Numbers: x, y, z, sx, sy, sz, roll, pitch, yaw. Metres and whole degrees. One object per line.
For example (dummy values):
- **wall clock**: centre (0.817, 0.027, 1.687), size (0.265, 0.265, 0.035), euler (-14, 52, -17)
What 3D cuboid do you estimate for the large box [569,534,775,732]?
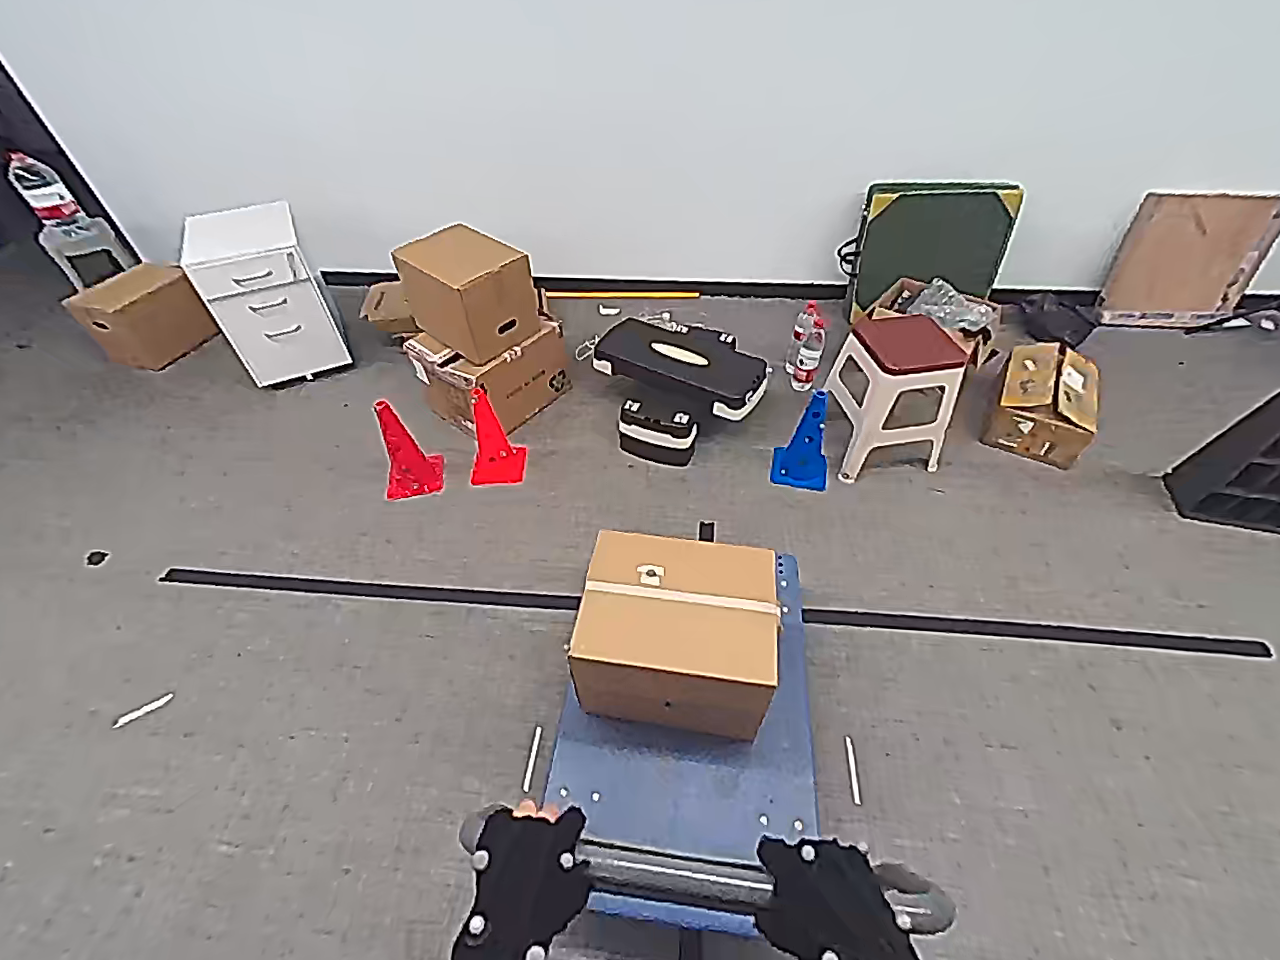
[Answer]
- **large box**: centre (0.085, 0.353, 1.242), size (0.408, 0.320, 0.320), euler (5, 48, 7)
